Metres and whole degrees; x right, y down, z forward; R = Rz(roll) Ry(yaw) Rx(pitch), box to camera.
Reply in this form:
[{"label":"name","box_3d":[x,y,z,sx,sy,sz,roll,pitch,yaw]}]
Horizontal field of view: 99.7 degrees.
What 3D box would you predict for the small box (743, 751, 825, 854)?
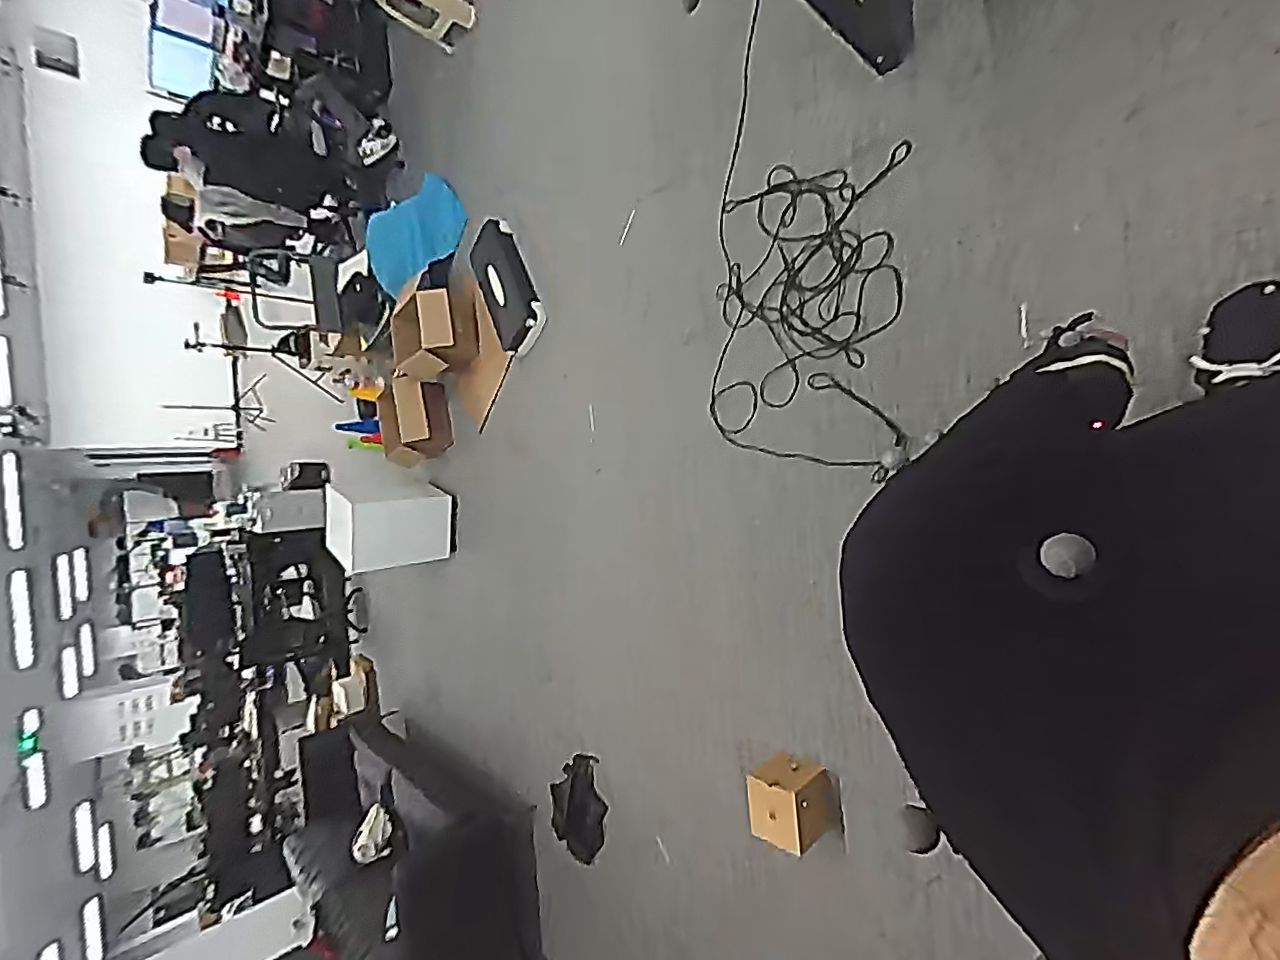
[{"label":"small box","box_3d":[0.423,0.928,1.573,0.168,0.176,0.179,-7,88,48]}]
